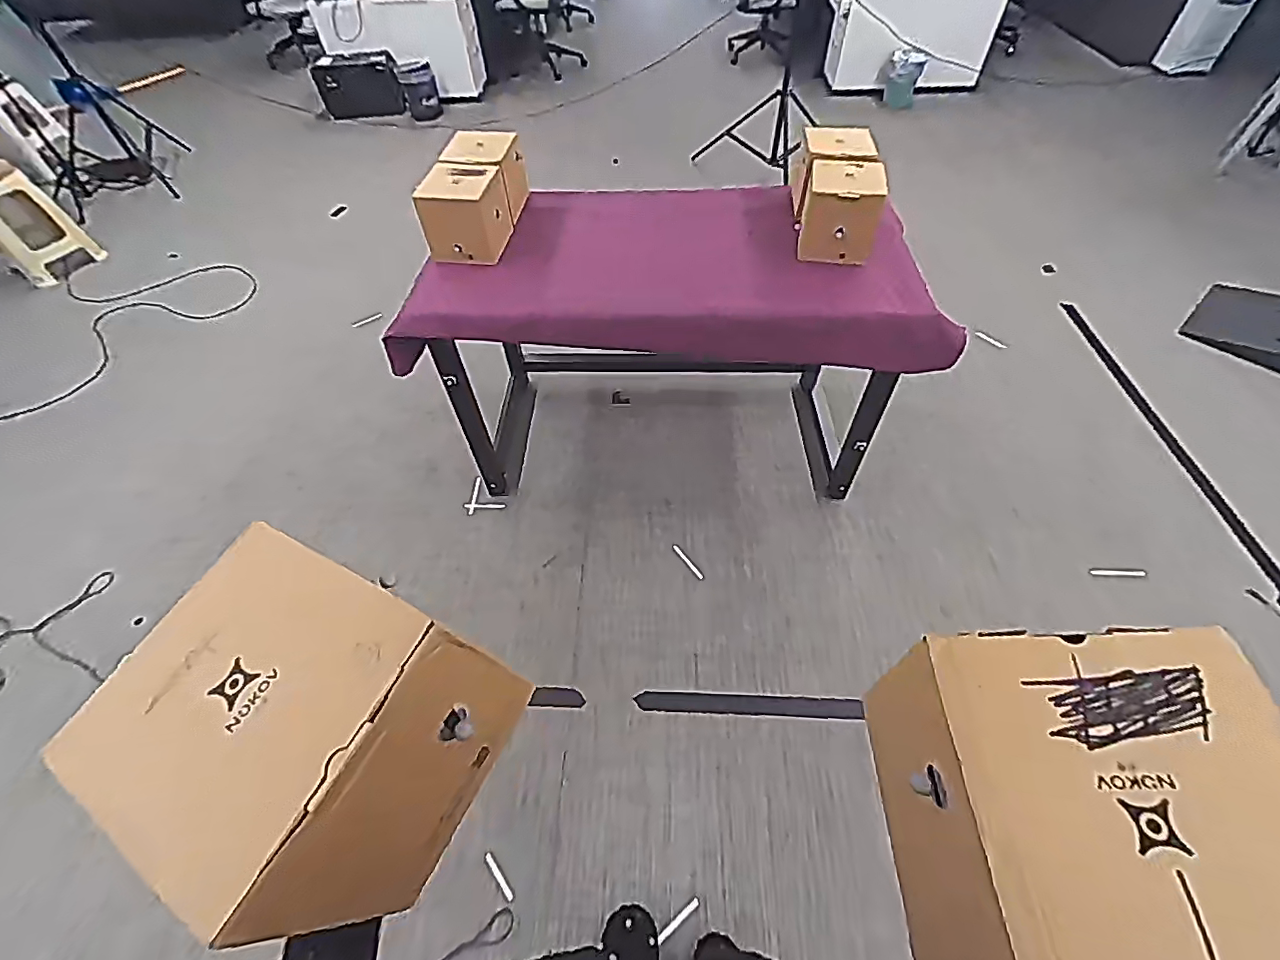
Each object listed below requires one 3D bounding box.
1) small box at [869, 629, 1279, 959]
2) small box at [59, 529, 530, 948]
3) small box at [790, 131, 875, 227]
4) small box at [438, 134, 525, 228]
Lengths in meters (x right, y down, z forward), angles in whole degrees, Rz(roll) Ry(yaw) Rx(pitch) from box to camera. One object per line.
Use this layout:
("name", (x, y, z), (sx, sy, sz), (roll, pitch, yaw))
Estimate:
("small box", (0.258, 0.205, 0.336), (0.168, 0.176, 0.179), (-3, 57, 6))
("small box", (-0.206, 0.164, 0.373), (0.179, 0.176, 0.168), (18, 62, 24))
("small box", (0.498, -0.797, 1.431), (0.168, 0.176, 0.179), (4, 52, 4))
("small box", (-0.420, -0.812, 1.467), (0.168, 0.176, 0.179), (4, 54, 5))
